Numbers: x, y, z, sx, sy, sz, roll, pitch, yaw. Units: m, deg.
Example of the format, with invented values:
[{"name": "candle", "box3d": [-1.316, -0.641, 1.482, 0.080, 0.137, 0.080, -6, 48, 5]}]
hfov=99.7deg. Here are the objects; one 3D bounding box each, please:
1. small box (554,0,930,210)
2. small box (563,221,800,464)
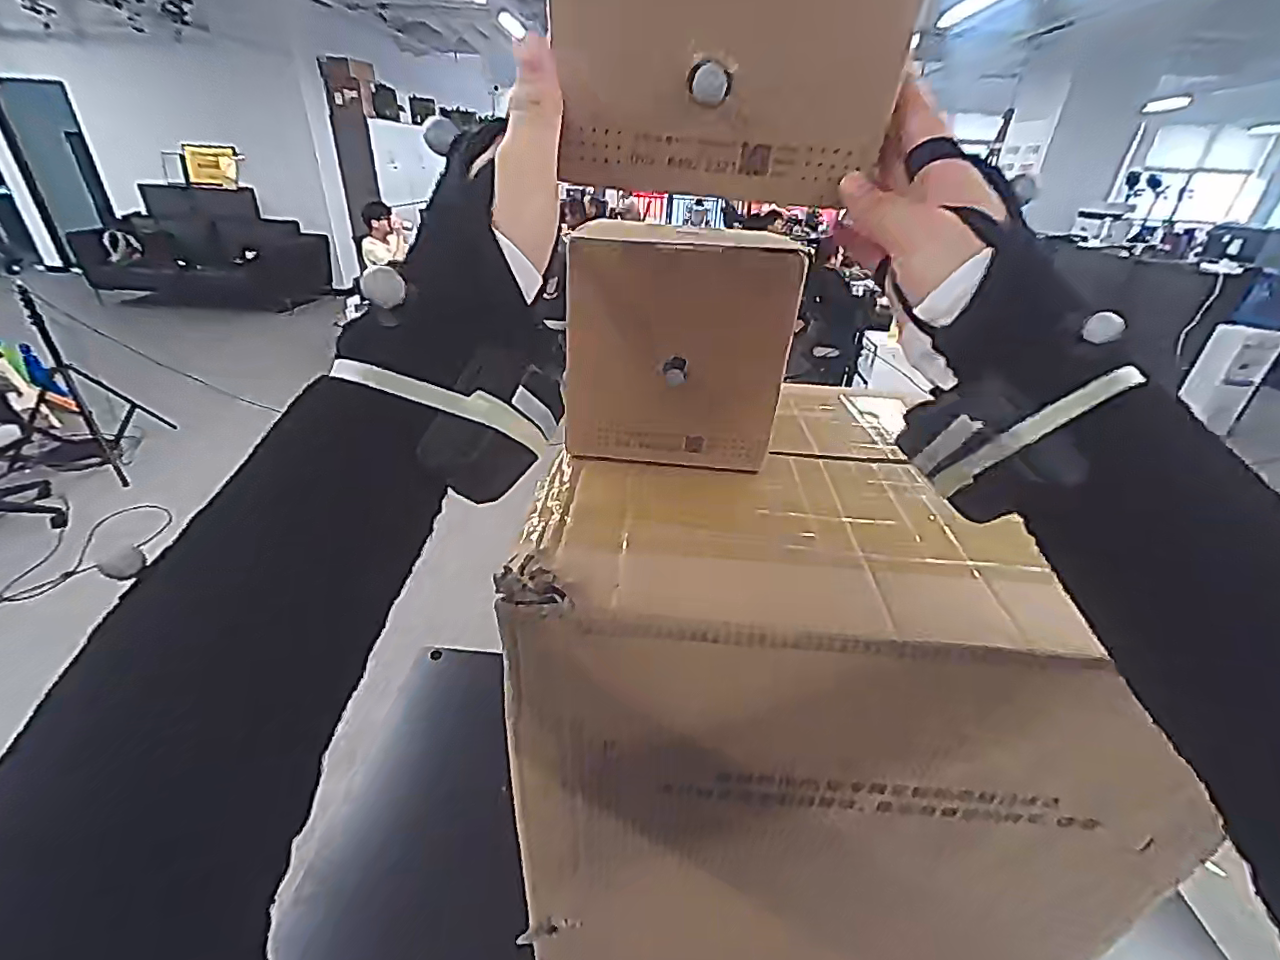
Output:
[{"name": "small box", "box3d": [0.048, -0.265, 0.287, 0.168, 0.176, 0.179, 6, 45, 1]}, {"name": "small box", "box3d": [0.031, -0.126, 0.478, 0.168, 0.176, 0.179, 5, 29, 1]}]
